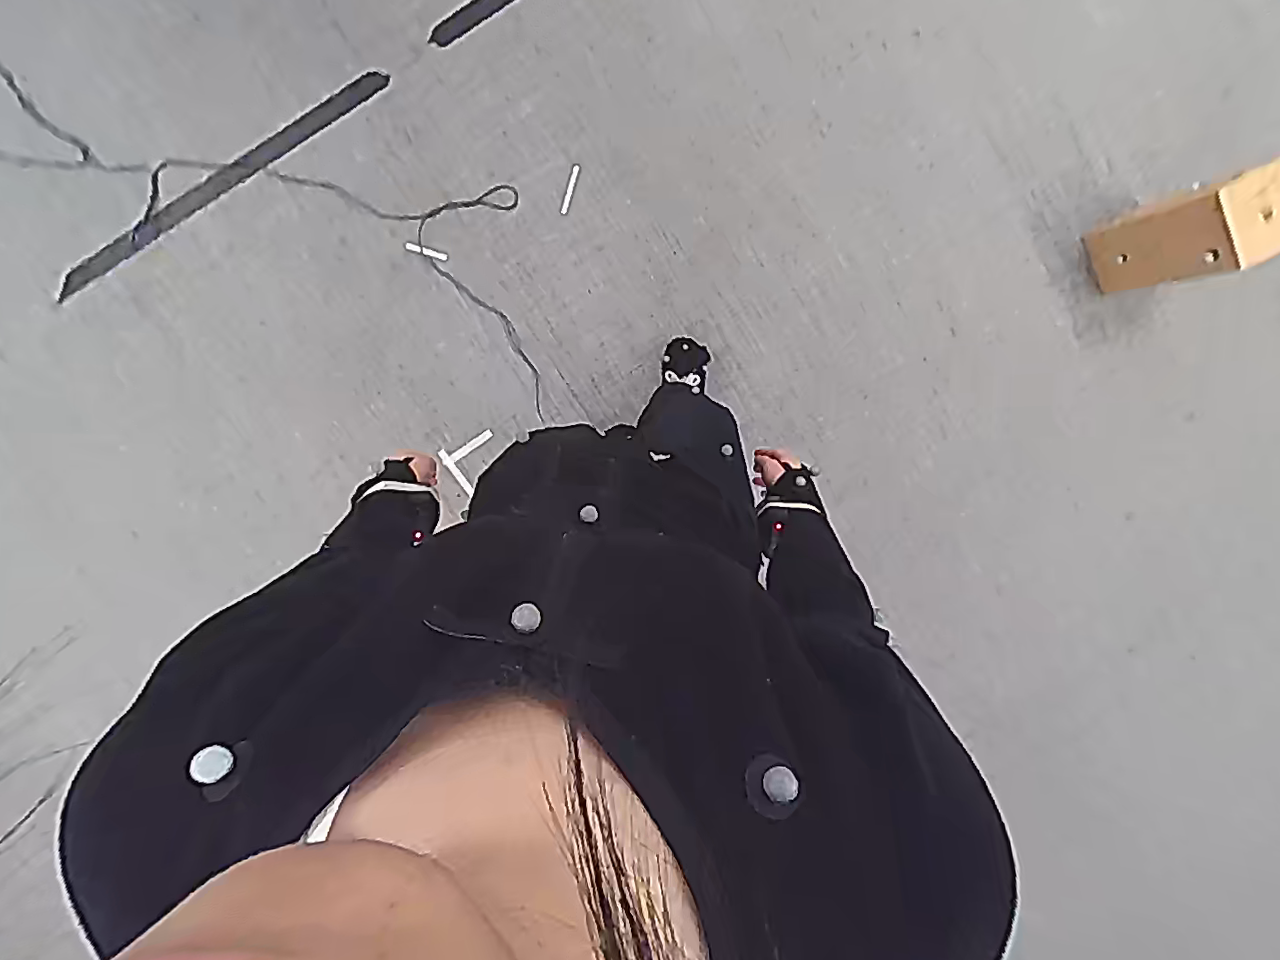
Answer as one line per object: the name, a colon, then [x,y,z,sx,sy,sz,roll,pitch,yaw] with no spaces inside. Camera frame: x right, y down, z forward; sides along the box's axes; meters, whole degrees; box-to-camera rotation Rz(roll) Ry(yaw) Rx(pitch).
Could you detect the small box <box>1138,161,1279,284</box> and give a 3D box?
small box: [1.260,-0.548,1.182,0.168,0.176,0.179,-27,99,2]
